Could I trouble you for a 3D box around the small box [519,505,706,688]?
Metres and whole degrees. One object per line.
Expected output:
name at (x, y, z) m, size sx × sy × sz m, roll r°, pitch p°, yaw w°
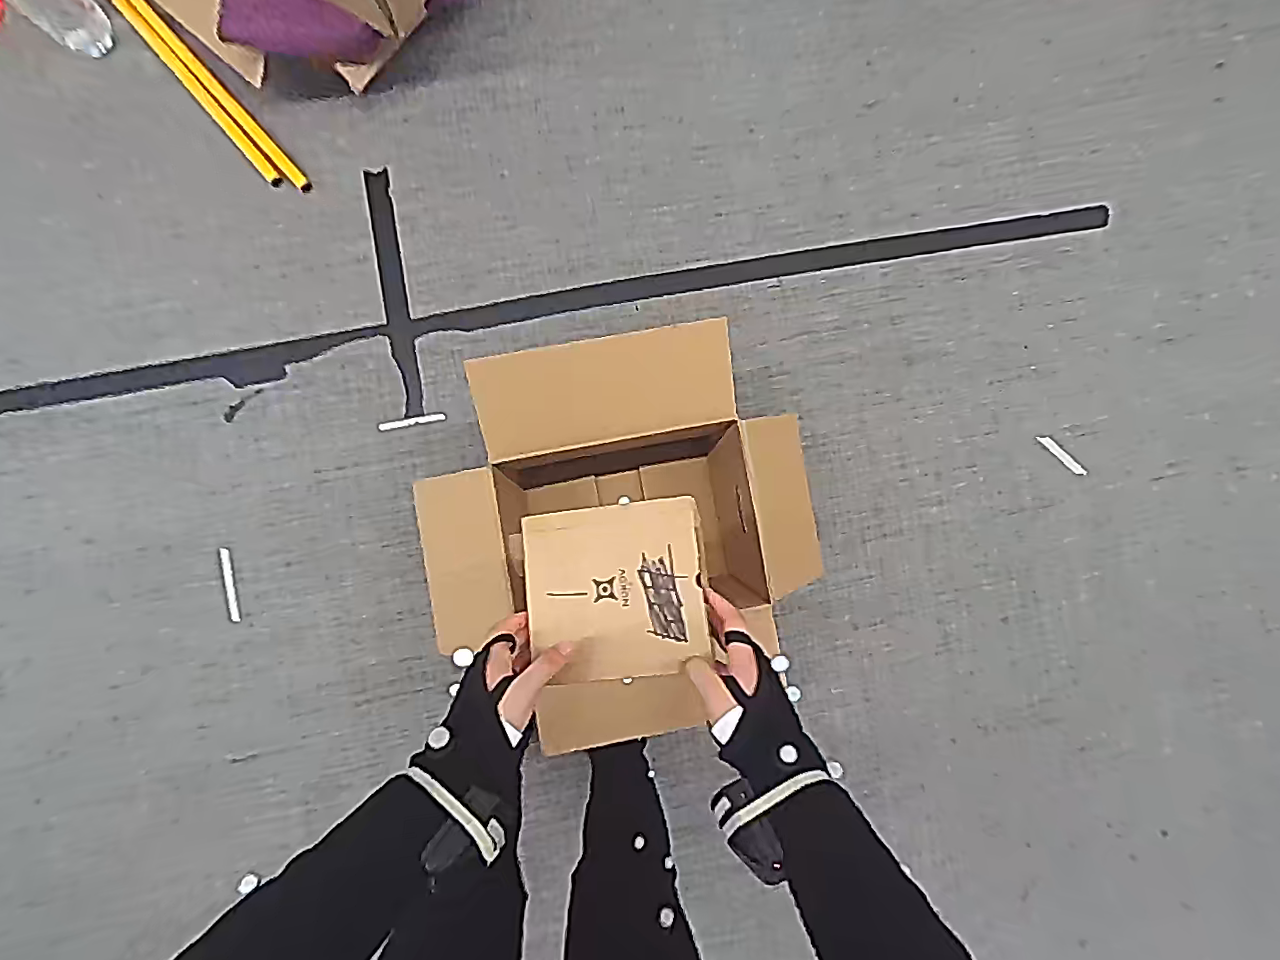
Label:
small box at (-0.020, 0.127, 0.608) m, size 0.179 × 0.176 × 0.168 m, roll -8°, pitch 78°, yaw 8°
